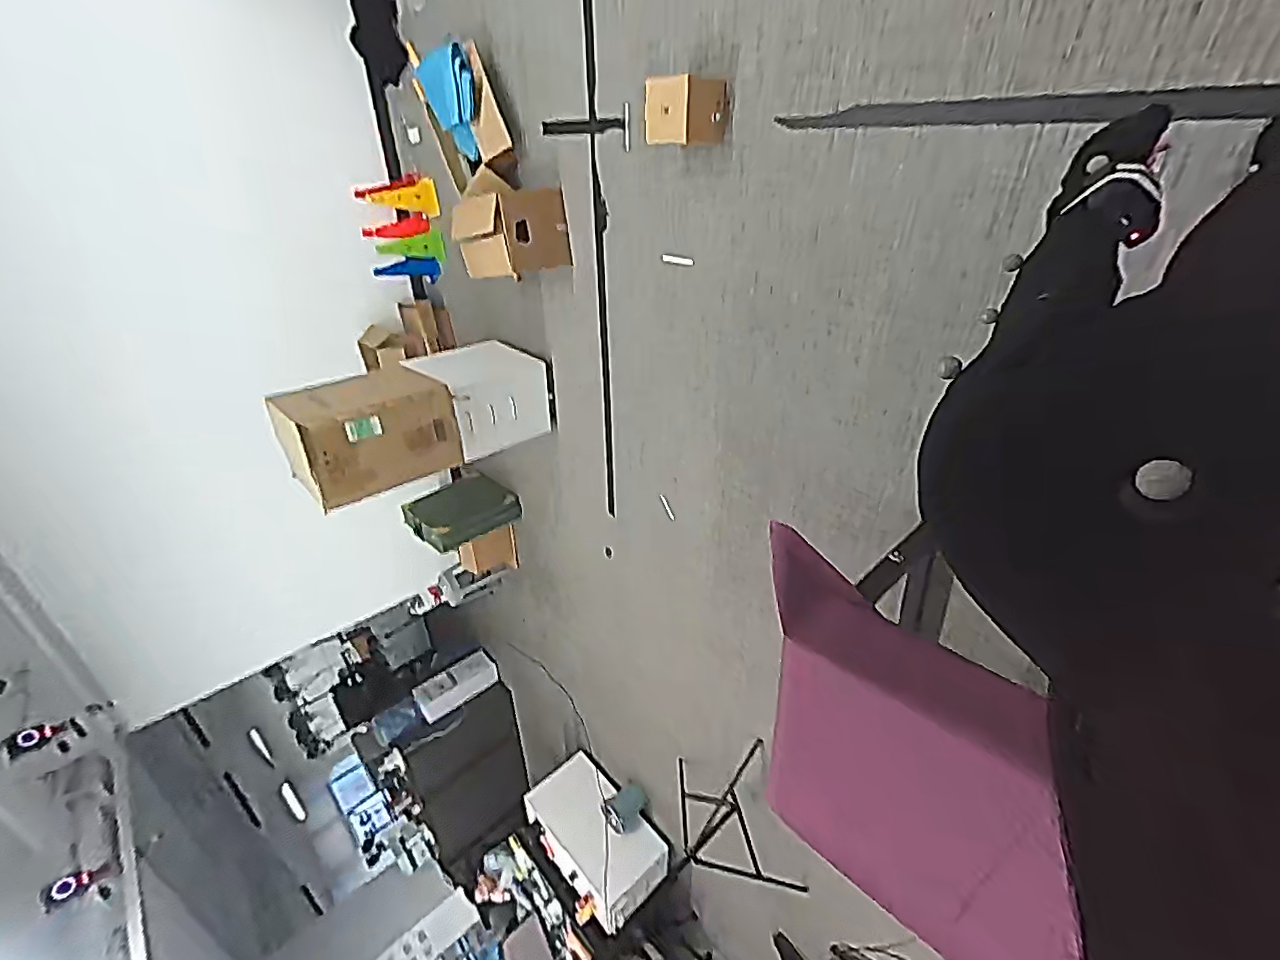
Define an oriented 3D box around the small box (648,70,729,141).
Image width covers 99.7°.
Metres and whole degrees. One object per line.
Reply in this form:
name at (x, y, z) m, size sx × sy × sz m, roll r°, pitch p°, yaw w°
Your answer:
small box at (0.143, -1.120, 1.629) m, size 0.179 × 0.176 × 0.168 m, roll 28°, pitch 132°, yaw 39°
